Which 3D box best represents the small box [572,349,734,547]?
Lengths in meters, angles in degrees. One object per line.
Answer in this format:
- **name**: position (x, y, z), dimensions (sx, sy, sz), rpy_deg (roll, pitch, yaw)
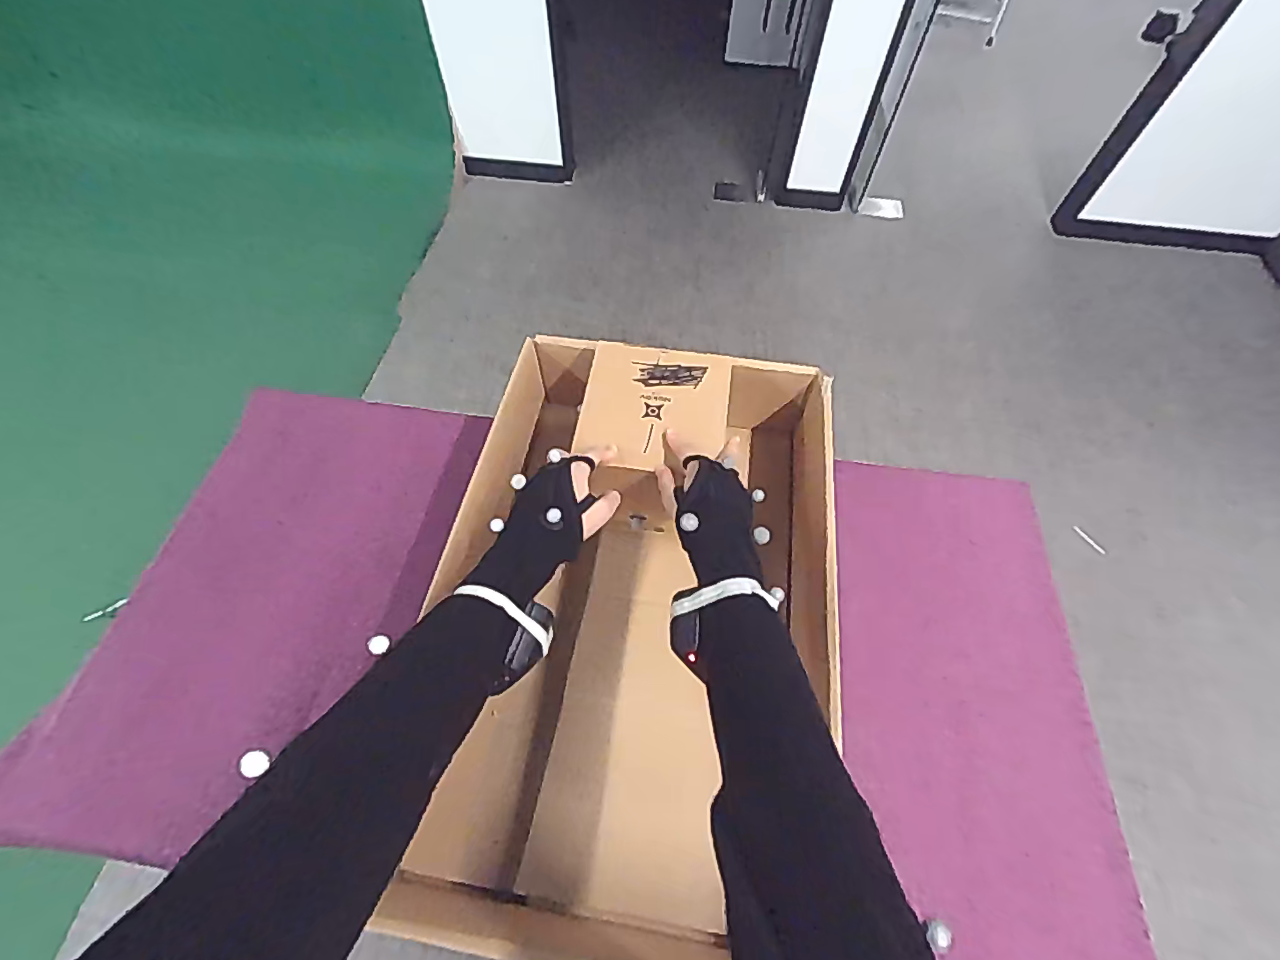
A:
- **small box**: position (0.018, -0.035, 0.684), dimensions (0.168, 0.176, 0.179), rpy_deg (8, 61, 5)
